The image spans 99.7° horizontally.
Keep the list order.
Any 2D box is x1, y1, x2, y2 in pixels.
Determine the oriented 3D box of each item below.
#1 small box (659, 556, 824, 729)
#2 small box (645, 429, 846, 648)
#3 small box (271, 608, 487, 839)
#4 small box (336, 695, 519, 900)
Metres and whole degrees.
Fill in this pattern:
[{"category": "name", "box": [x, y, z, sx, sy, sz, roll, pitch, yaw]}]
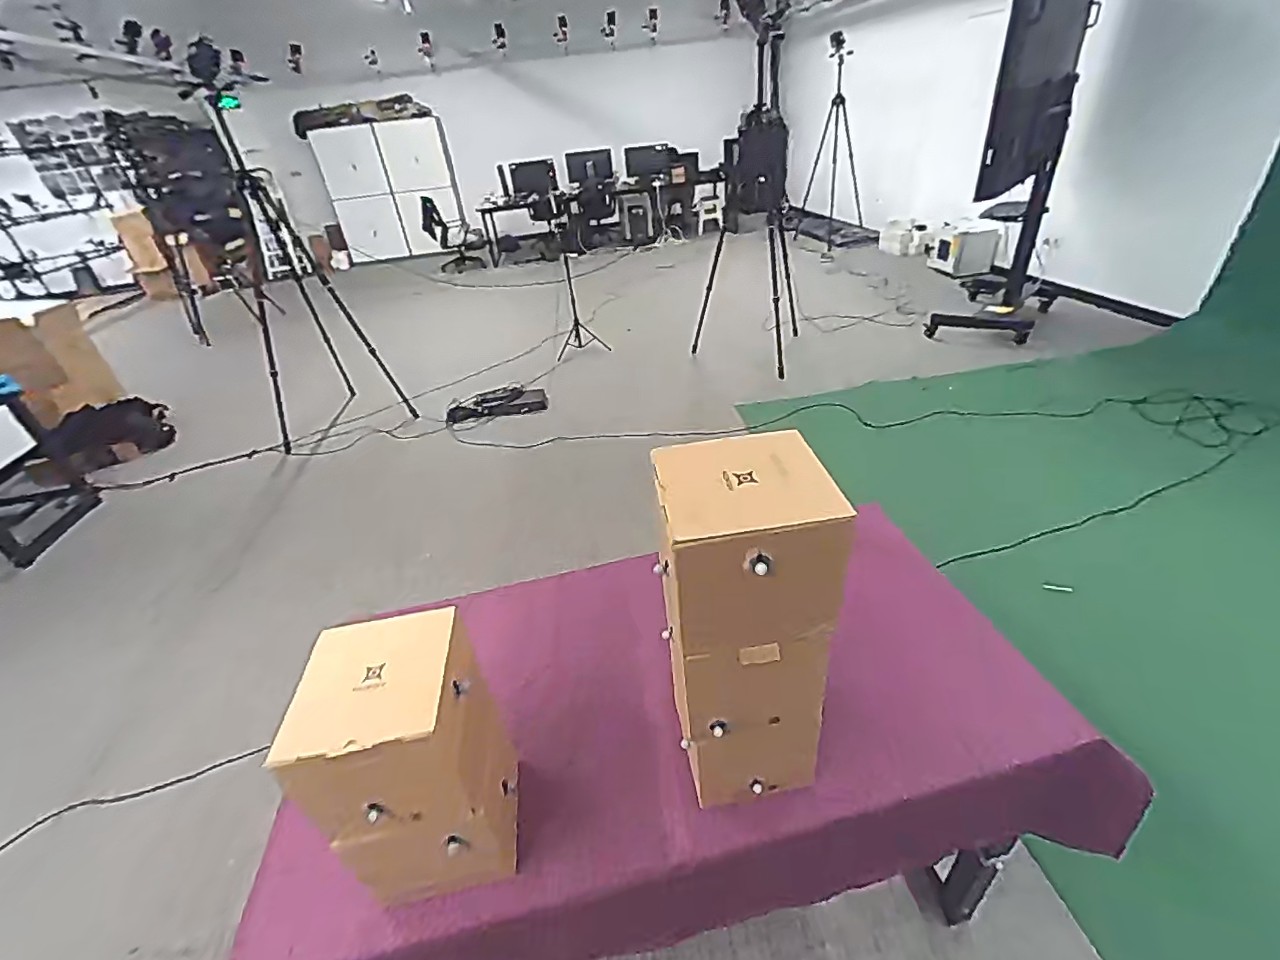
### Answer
[{"category": "small box", "box": [0.124, 0.197, 0.697, 0.168, 0.176, 0.179, -9, 33, -2]}, {"category": "small box", "box": [0.107, 0.065, 0.601, 0.179, 0.176, 0.168, -8, 35, -1]}, {"category": "small box", "box": [-0.289, 0.288, 0.651, 0.168, 0.176, 0.179, -11, 34, -4]}, {"category": "small box", "box": [-0.267, 0.427, 0.733, 0.179, 0.176, 0.168, -11, 33, -4]}]
